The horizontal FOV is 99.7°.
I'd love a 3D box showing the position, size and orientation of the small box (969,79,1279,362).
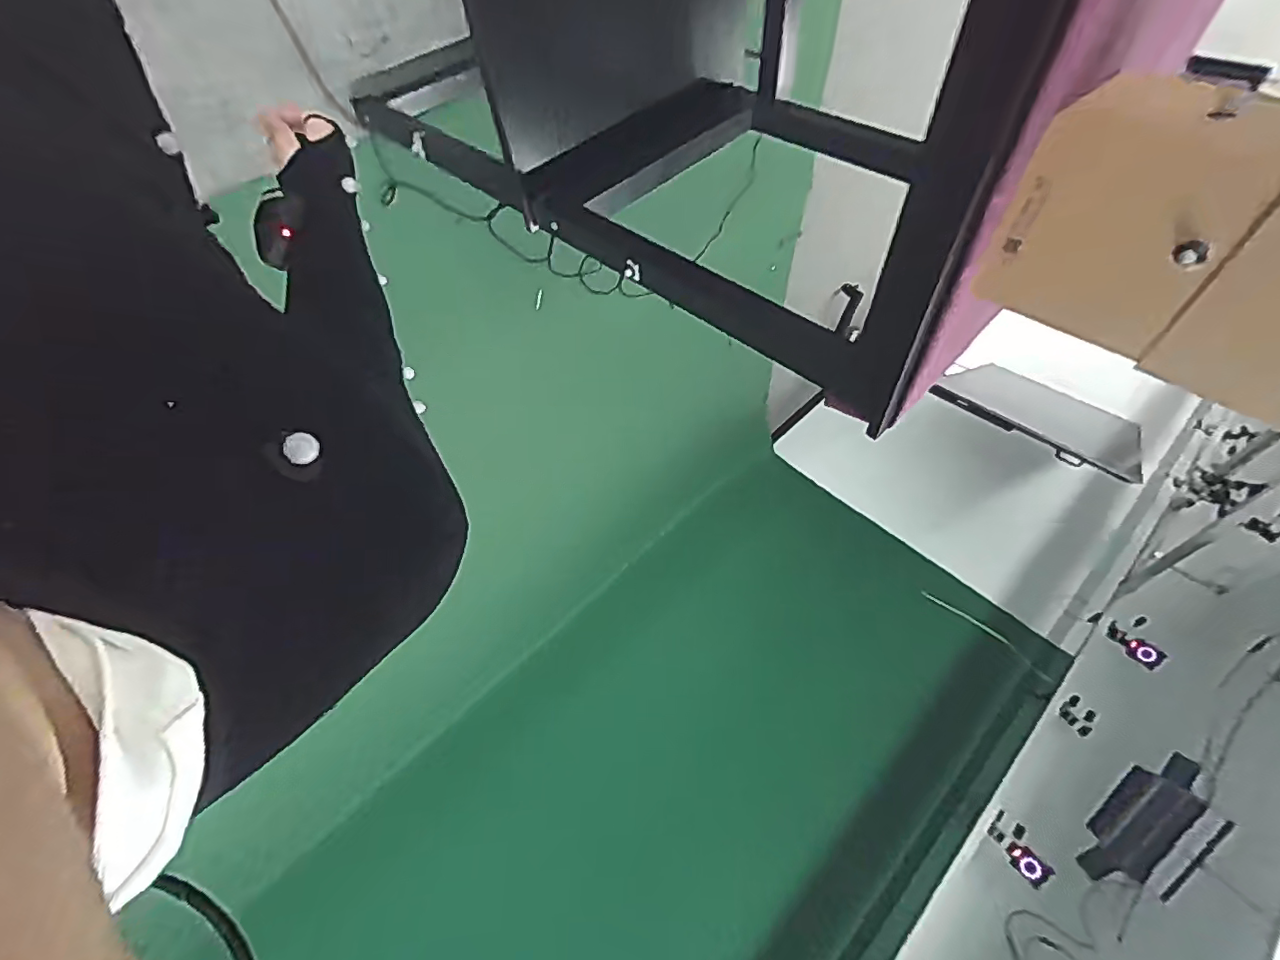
[{"bbox_3d":[0.458,-0.249,0.509,0.179,0.176,0.168,-38,148,-24],"label":"small box"}]
